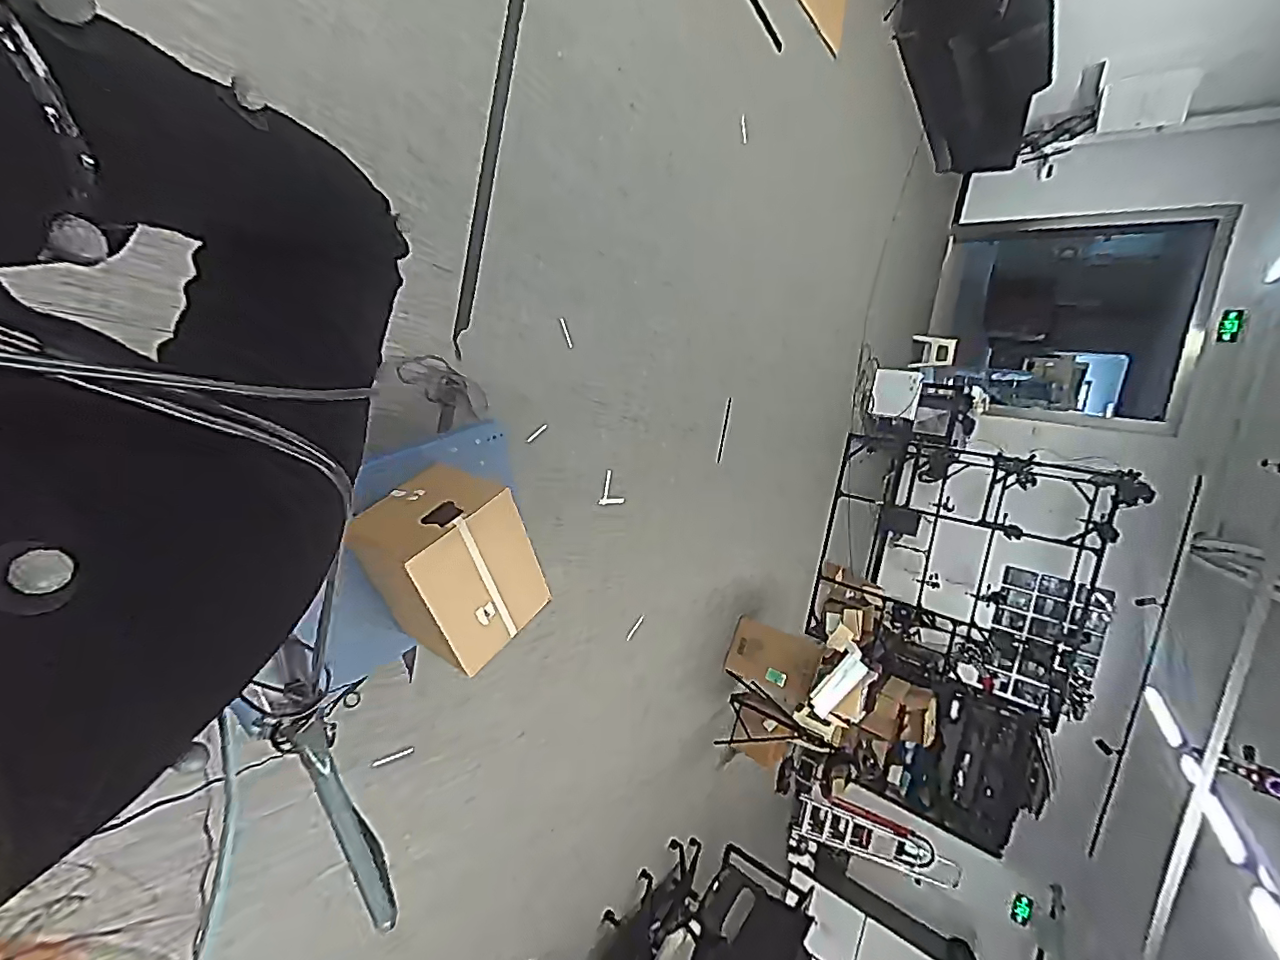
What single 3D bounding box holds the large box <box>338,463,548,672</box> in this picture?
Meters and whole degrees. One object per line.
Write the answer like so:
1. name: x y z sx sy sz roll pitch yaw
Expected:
1. large box: -0.507 0.220 1.442 0.320 0.320 0.408 -42 134 -37
